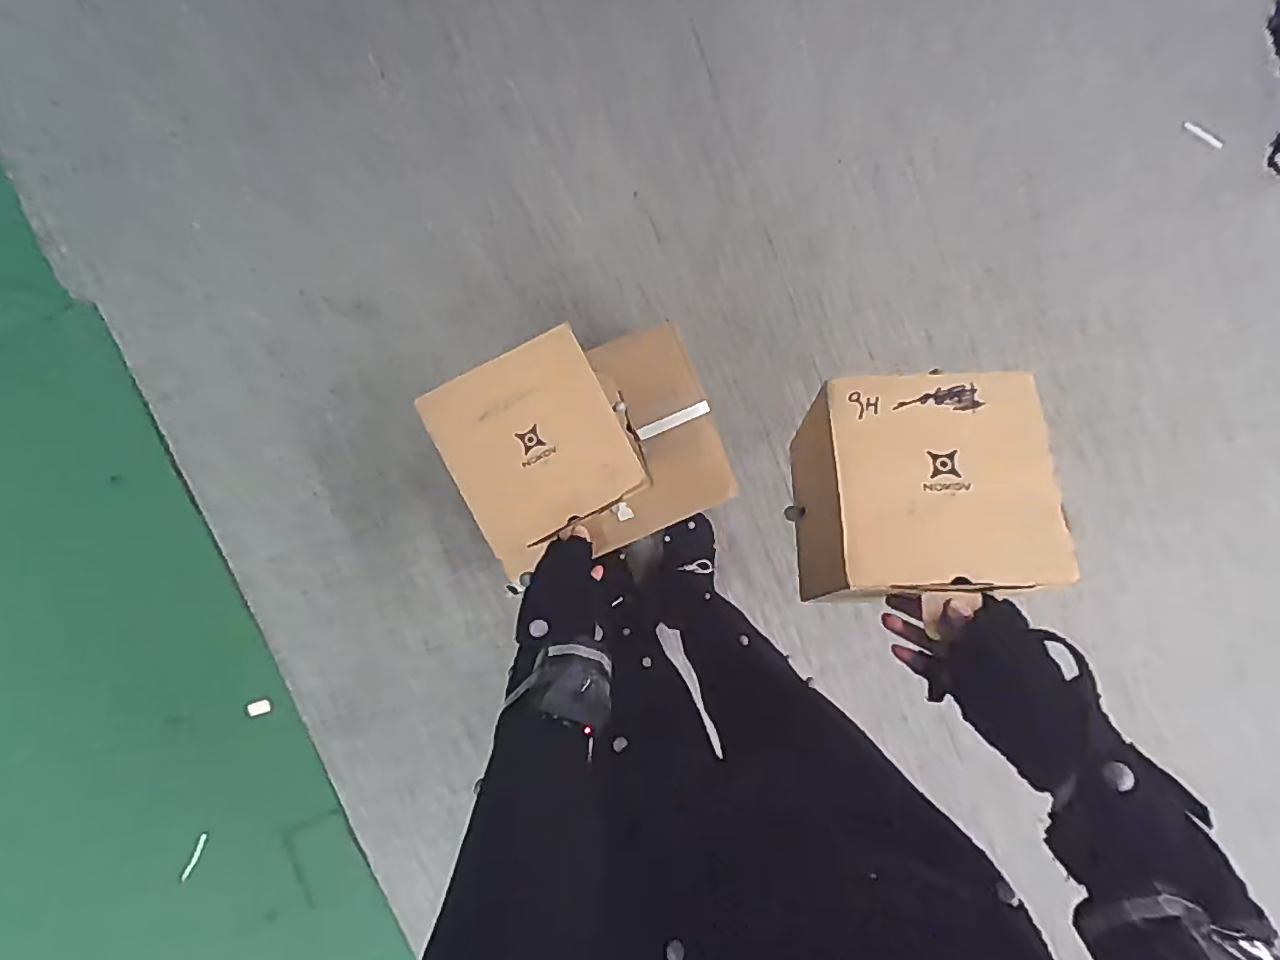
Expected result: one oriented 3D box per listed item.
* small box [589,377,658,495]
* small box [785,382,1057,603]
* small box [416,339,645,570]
[{"bbox_3d":[-0.094,-0.042,0.777,0.179,0.176,0.168,-24,102,-1],"label":"small box"},{"bbox_3d":[0.236,0.024,0.506,0.168,0.176,0.179,-1,75,4],"label":"small box"},{"bbox_3d":[-0.107,-0.028,0.602,0.168,0.176,0.179,-29,93,-1],"label":"small box"}]
